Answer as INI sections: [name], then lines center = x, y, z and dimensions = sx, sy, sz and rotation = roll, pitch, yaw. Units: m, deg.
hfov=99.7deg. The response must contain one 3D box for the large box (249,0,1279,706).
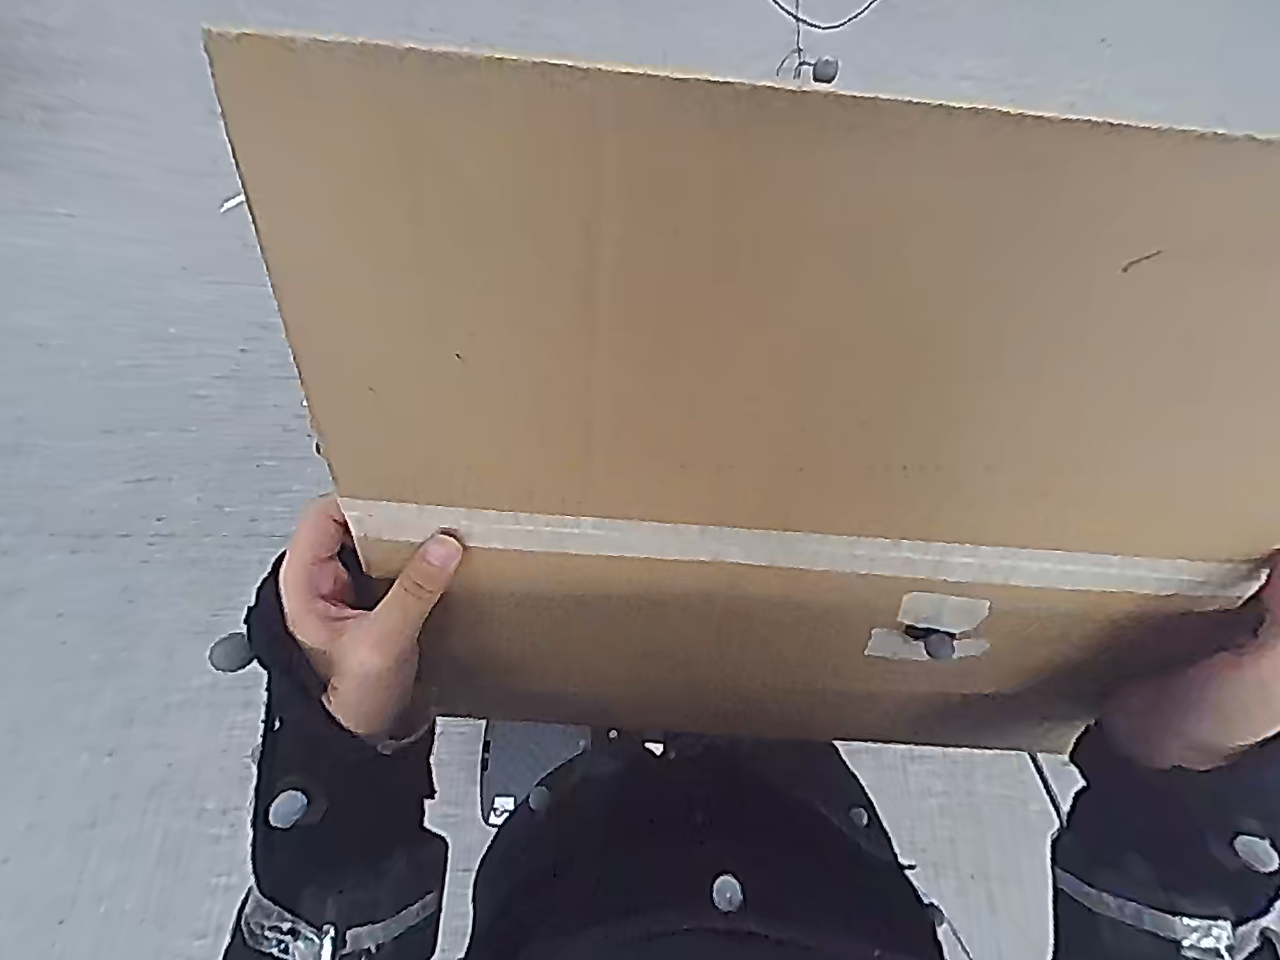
[large box]
center = 0.086, -0.086, 0.348
dimensions = 0.408, 0.320, 0.320
rotation = 4, 37, -2
